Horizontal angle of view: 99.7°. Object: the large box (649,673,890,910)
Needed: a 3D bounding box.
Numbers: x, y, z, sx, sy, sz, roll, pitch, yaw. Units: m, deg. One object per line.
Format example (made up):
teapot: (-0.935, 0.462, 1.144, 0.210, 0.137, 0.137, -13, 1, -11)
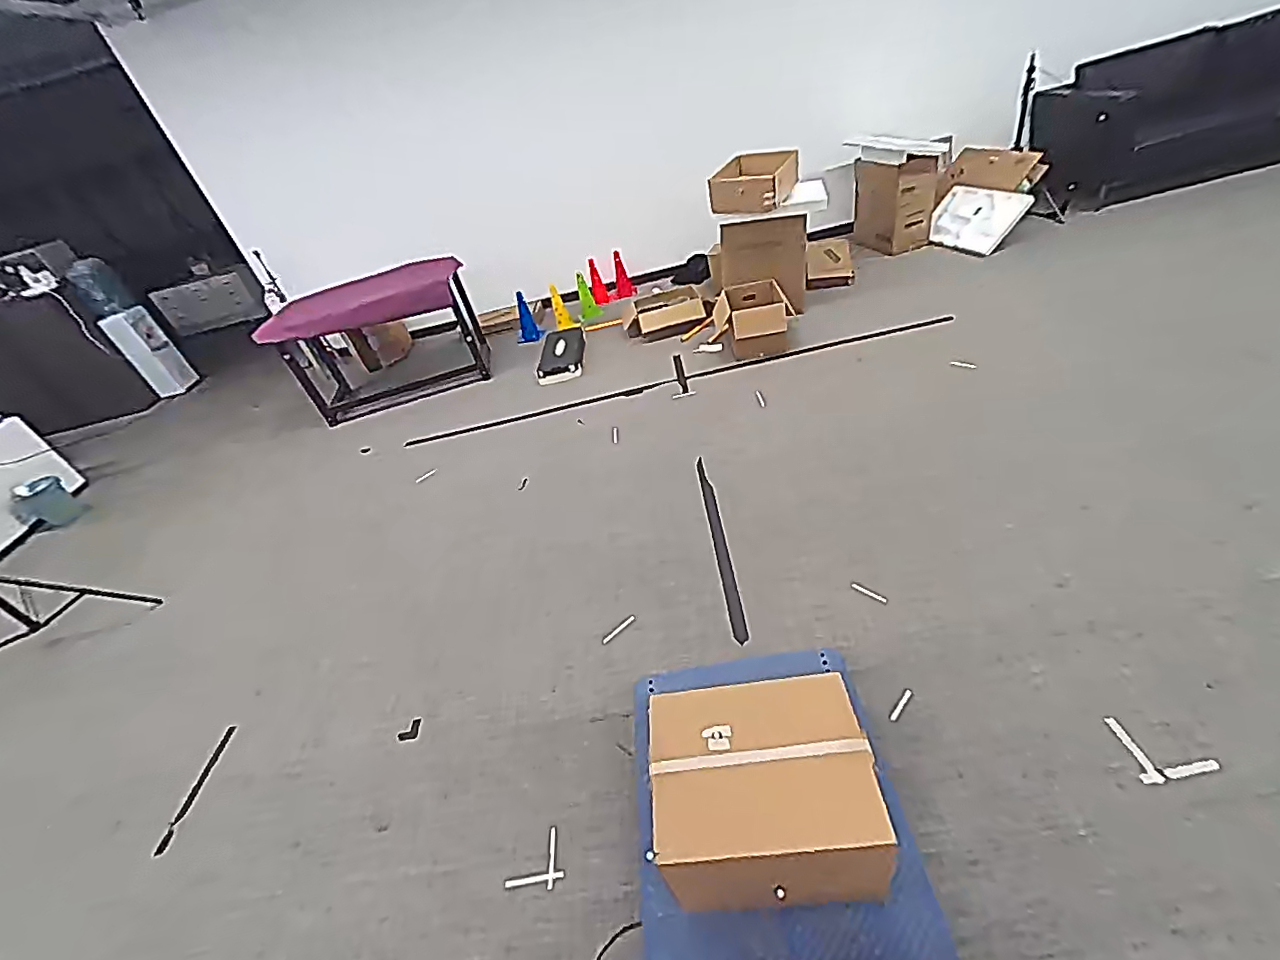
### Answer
large box: (0.252, 0.646, 1.120, 0.408, 0.320, 0.320, -11, 36, 7)
